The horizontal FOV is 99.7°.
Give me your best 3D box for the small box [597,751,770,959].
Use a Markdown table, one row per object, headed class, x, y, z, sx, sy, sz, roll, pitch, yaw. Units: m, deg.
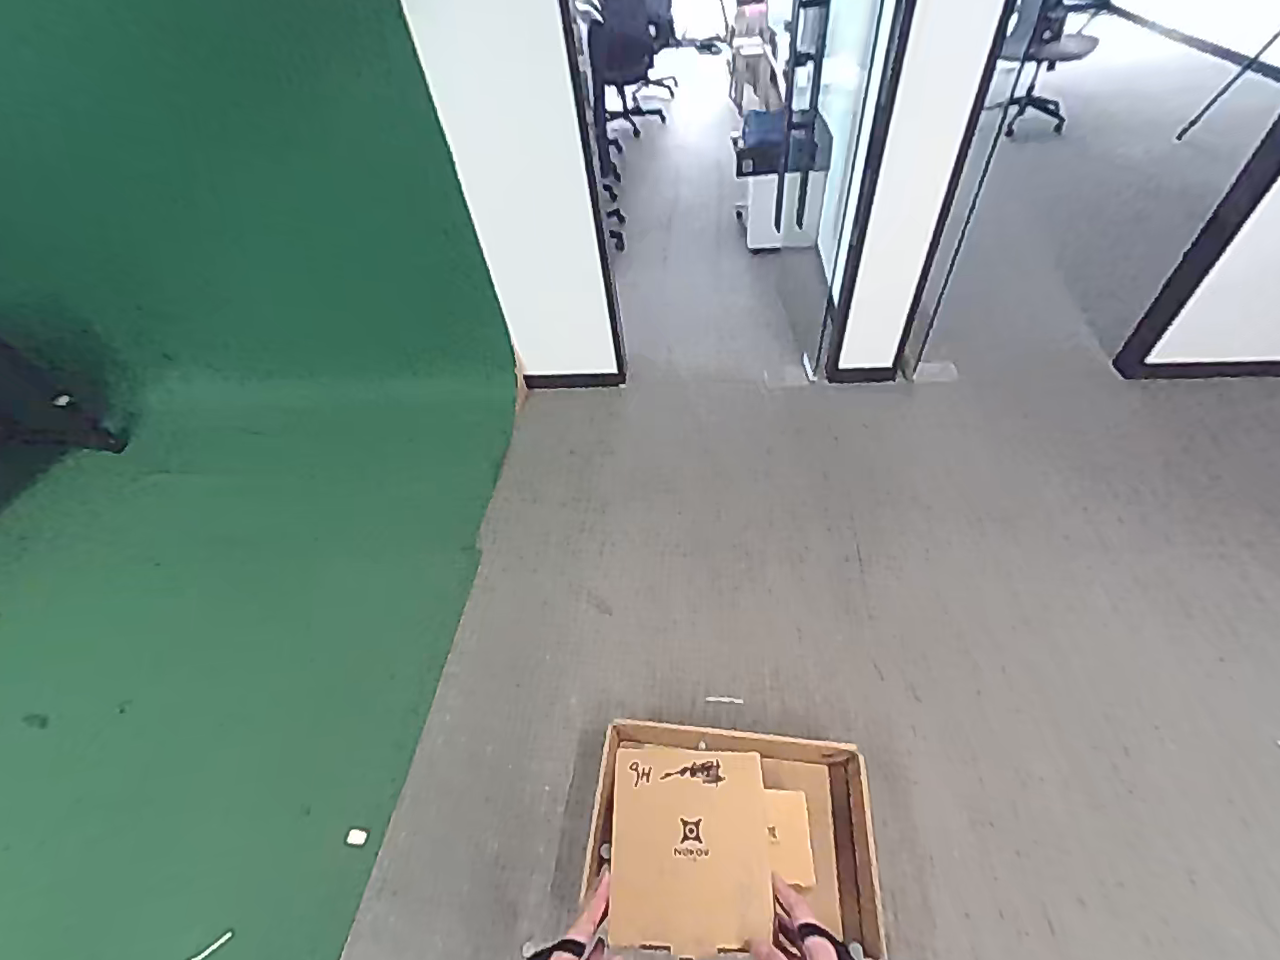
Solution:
| class | x | y | z | sx | sy | sz | roll | pitch | yaw |
| --- | --- | --- | --- | --- | --- | --- | --- | --- | --- |
| small box | 0.045 | 0.426 | 0.618 | 0.168 | 0.176 | 0.179 | 2 | 51 | 1 |
